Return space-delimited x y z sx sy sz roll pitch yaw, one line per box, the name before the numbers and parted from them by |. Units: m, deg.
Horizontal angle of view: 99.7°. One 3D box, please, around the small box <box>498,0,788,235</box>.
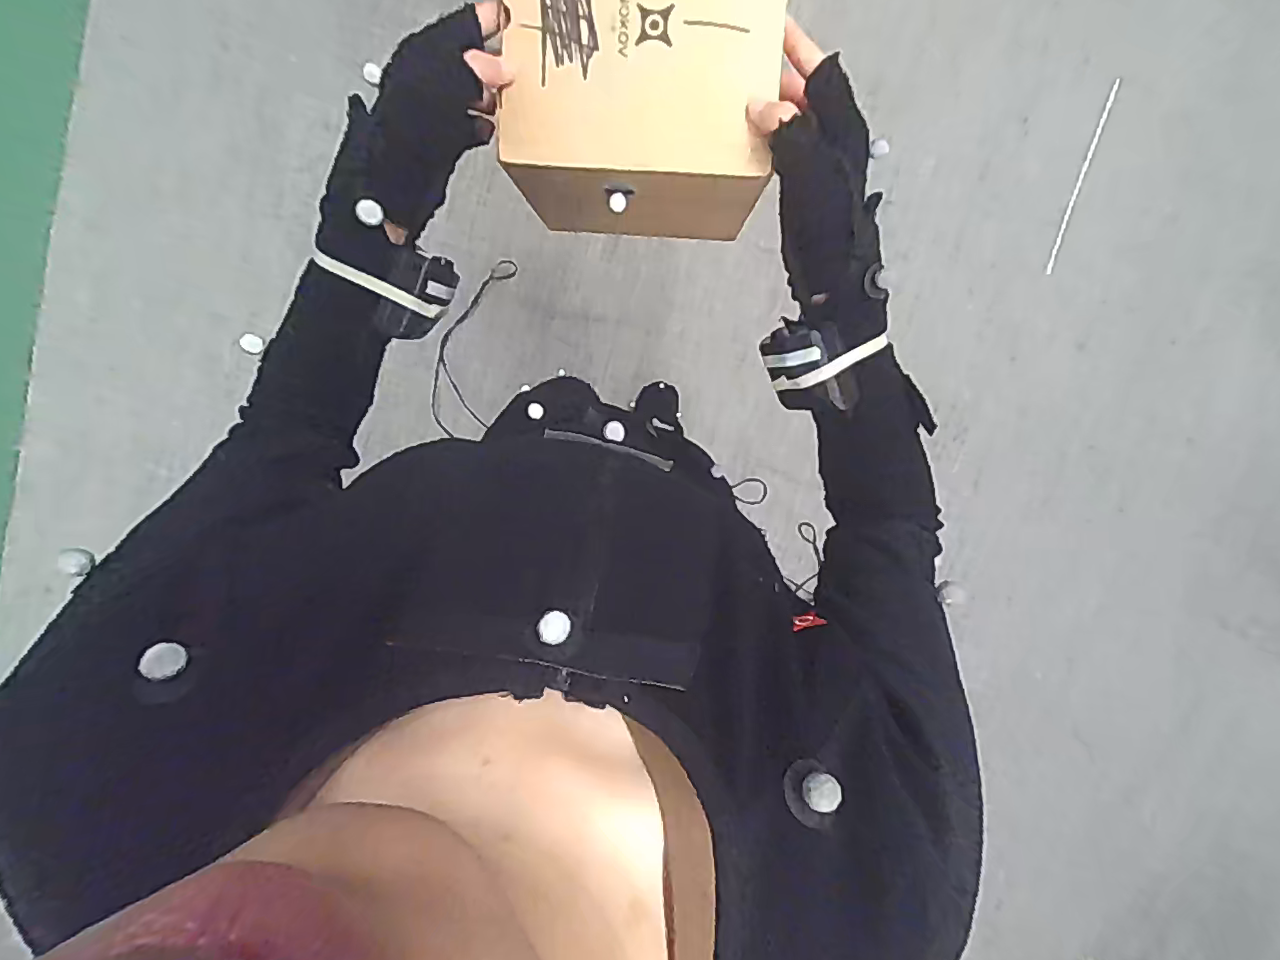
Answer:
small box | 0.004 -0.295 0.406 0.179 0.176 0.168 4 100 1
